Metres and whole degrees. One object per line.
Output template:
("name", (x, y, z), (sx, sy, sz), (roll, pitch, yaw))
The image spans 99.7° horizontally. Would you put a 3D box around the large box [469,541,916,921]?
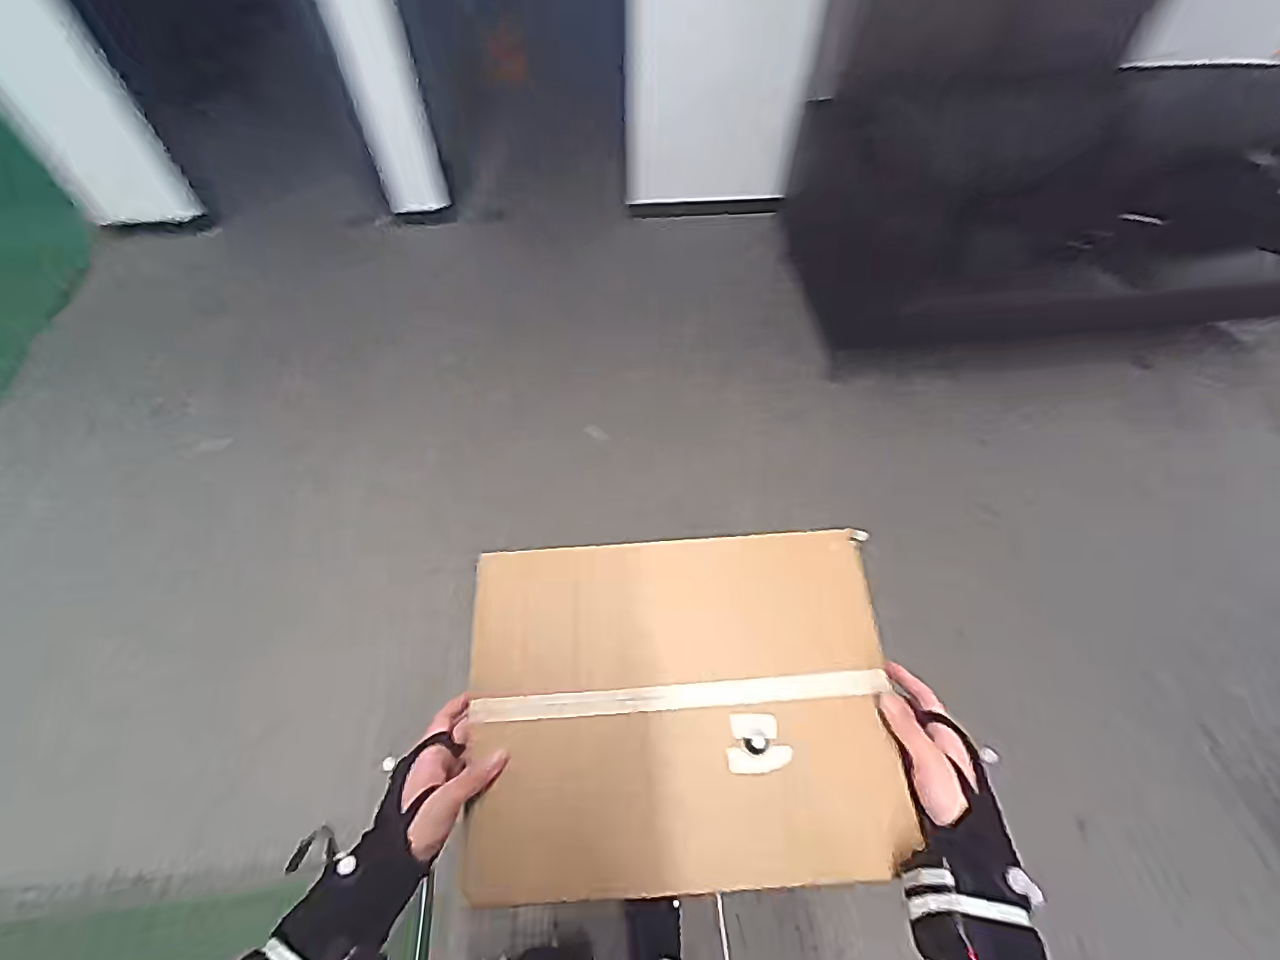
("large box", (0.035, 0.287, 0.667), (0.408, 0.320, 0.320), (-5, 66, -1))
